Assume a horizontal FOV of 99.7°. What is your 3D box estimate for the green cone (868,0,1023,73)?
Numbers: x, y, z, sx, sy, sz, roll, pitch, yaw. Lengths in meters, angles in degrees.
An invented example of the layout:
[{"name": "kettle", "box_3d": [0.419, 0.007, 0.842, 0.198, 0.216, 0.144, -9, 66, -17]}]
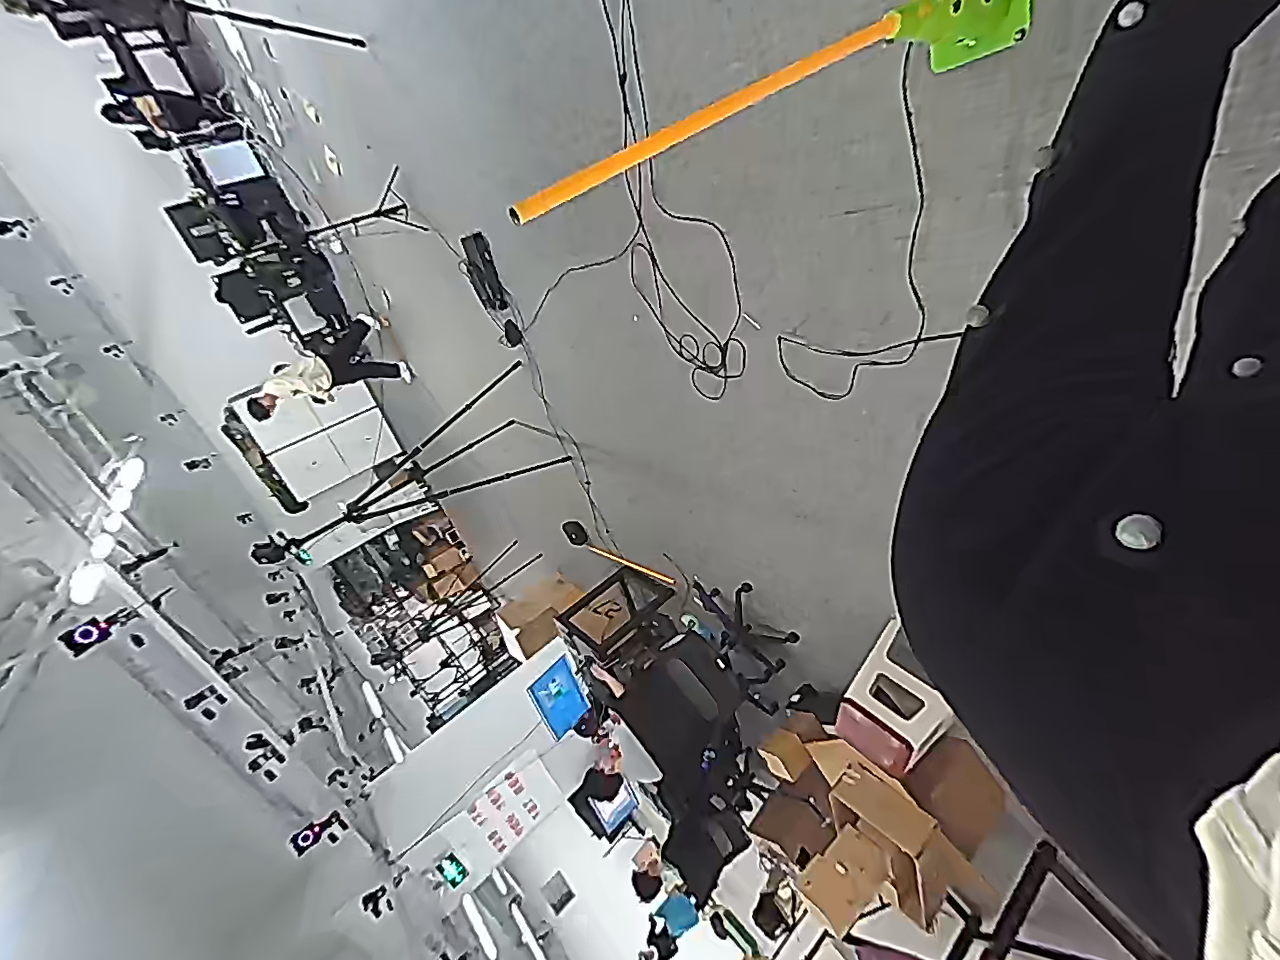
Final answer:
[{"name": "green cone", "box_3d": [0.583, -0.937, 1.089, 0.202, 0.368, 0.200, 19, 135, 52]}]
